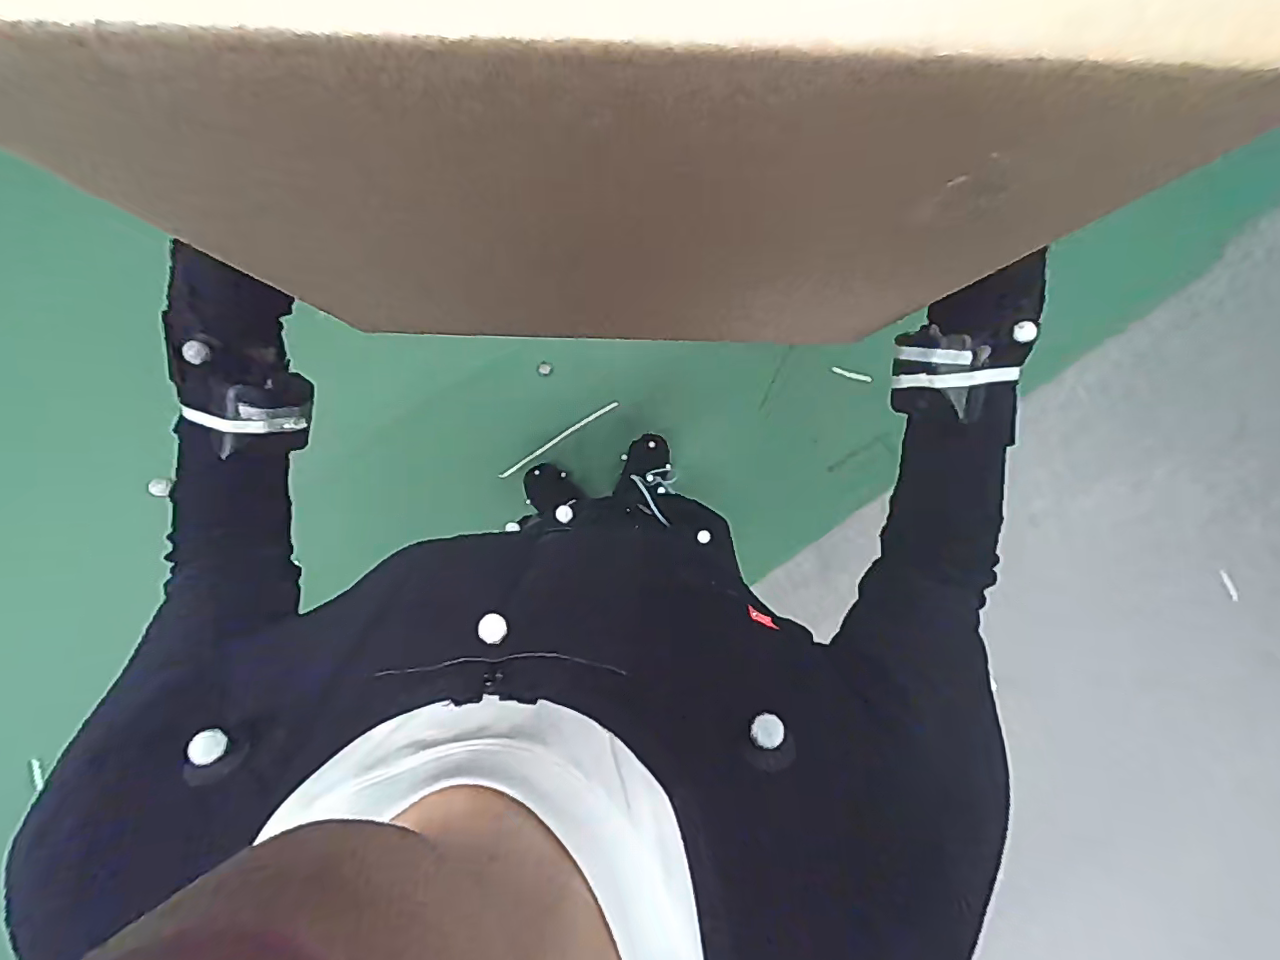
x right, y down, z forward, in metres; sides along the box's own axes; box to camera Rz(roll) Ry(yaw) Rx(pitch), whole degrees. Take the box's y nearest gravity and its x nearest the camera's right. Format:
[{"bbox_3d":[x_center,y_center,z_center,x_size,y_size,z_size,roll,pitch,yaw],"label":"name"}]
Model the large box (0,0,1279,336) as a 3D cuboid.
[{"bbox_3d":[-0.004,-0.269,0.285,0.408,0.320,0.320,1,92,-4],"label":"large box"}]
